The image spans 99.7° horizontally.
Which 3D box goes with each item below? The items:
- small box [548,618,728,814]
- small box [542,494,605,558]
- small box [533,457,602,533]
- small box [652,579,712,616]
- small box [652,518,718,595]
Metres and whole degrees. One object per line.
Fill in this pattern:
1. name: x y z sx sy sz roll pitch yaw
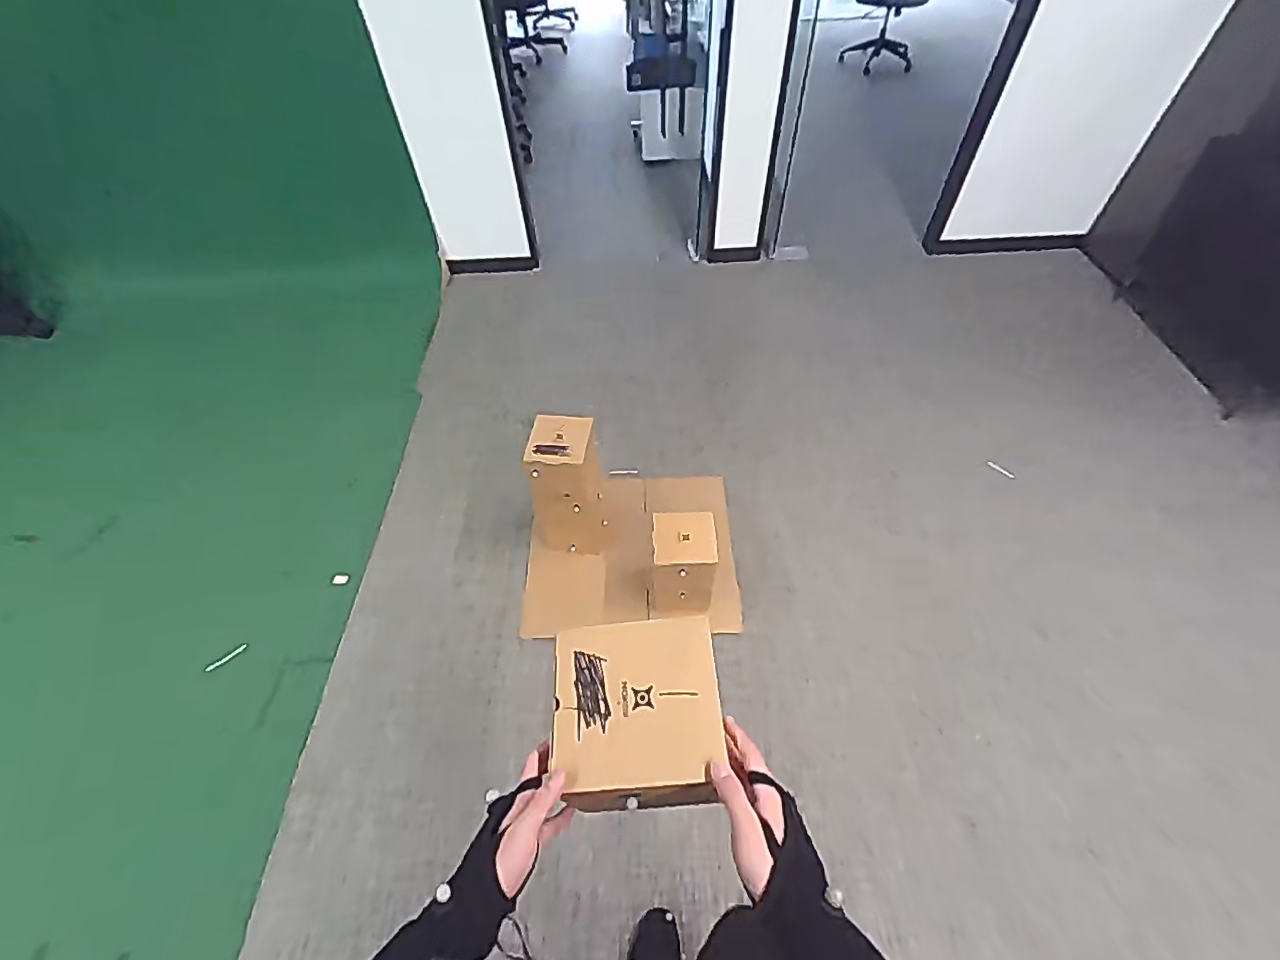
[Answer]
1. small box: 0.004 0.275 0.621 0.179 0.176 0.168 -6 52 3
2. small box: -0.217 0.148 1.820 0.179 0.176 0.168 6 52 5
3. small box: -0.217 0.051 1.685 0.179 0.176 0.168 5 52 5
4. small box: 0.126 0.315 1.682 0.179 0.176 0.168 -1 52 1
5. small box: 0.122 0.222 1.550 0.179 0.176 0.168 -2 53 2
